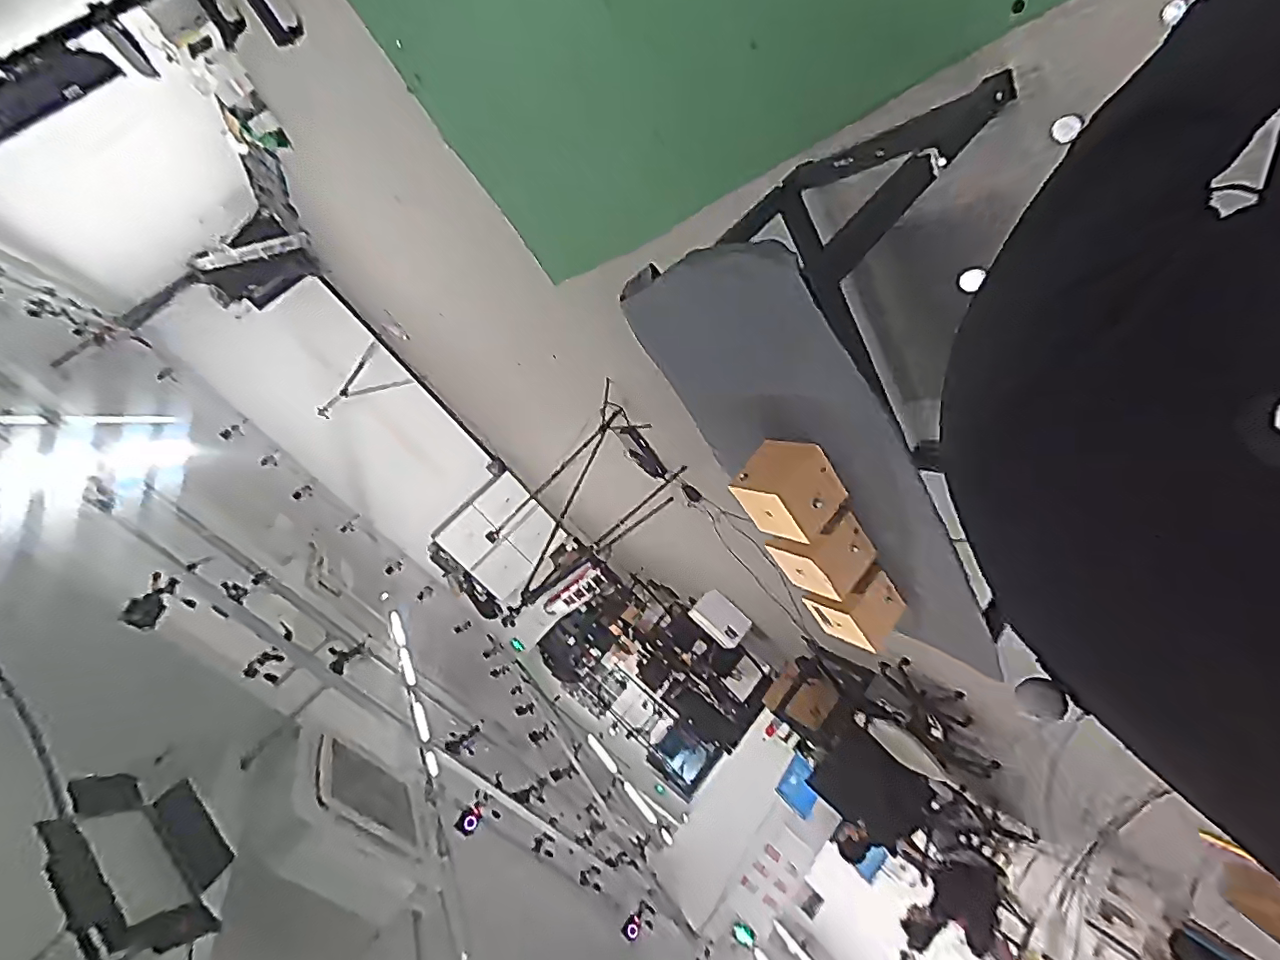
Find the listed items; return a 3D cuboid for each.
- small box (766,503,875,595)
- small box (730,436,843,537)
[{"bbox_3d":[0.473,0.165,1.414,0.168,0.176,0.179,50,163,-23],"label":"small box"},{"bbox_3d":[0.358,0.010,1.300,0.168,0.176,0.179,50,163,-24],"label":"small box"}]
